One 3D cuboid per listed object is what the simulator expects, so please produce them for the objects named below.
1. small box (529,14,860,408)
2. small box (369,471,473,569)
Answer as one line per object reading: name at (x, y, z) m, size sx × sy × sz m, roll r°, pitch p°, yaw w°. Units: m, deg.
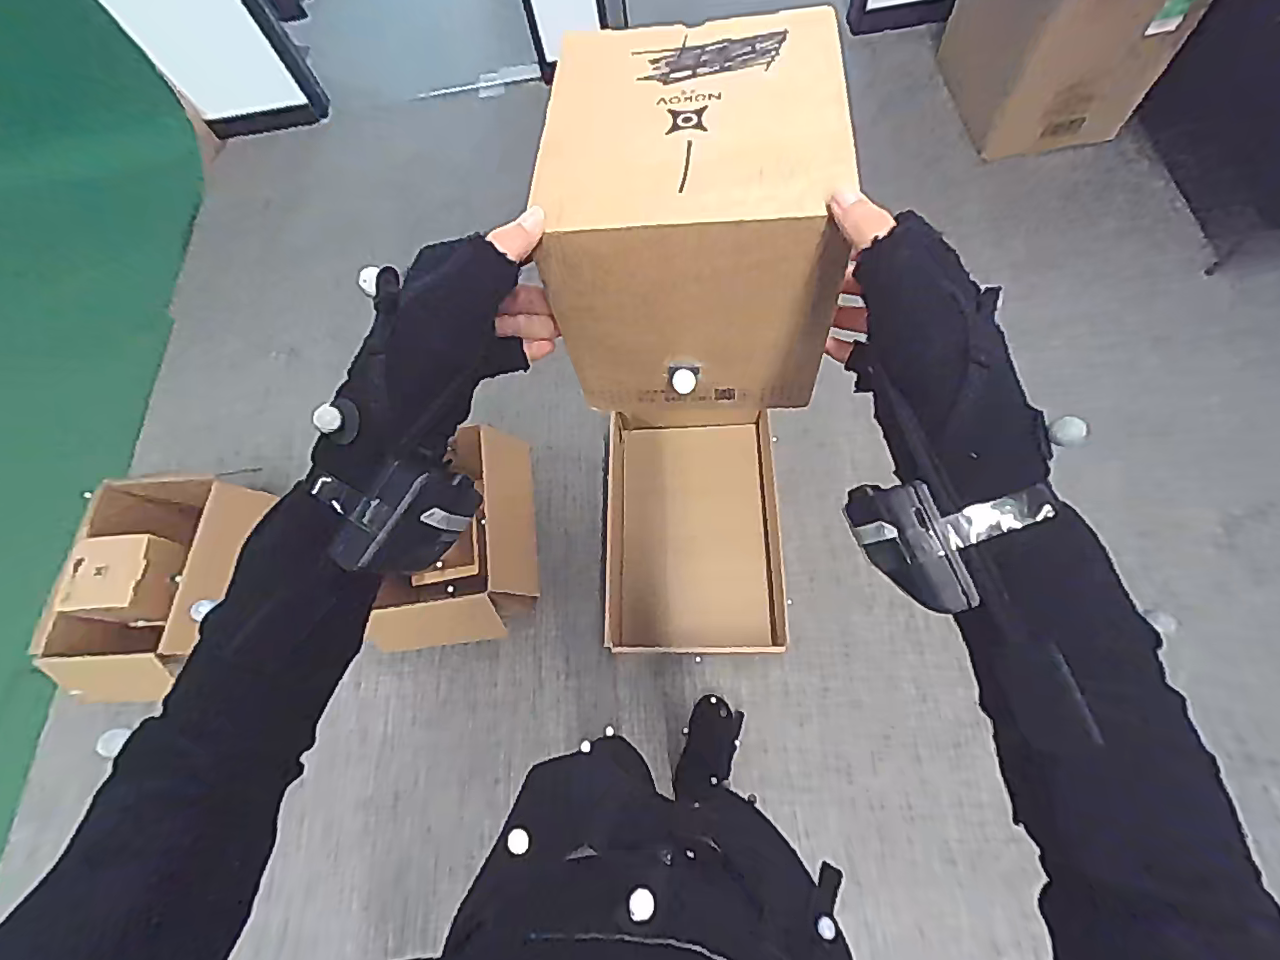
small box at (0.039, -0.169, 0.371) m, size 0.168 × 0.176 × 0.179 m, roll 1°, pitch 65°, yaw 8°
small box at (-0.489, 0.100, 1.228) m, size 0.168 × 0.176 × 0.179 m, roll -10°, pitch 70°, yaw 2°
